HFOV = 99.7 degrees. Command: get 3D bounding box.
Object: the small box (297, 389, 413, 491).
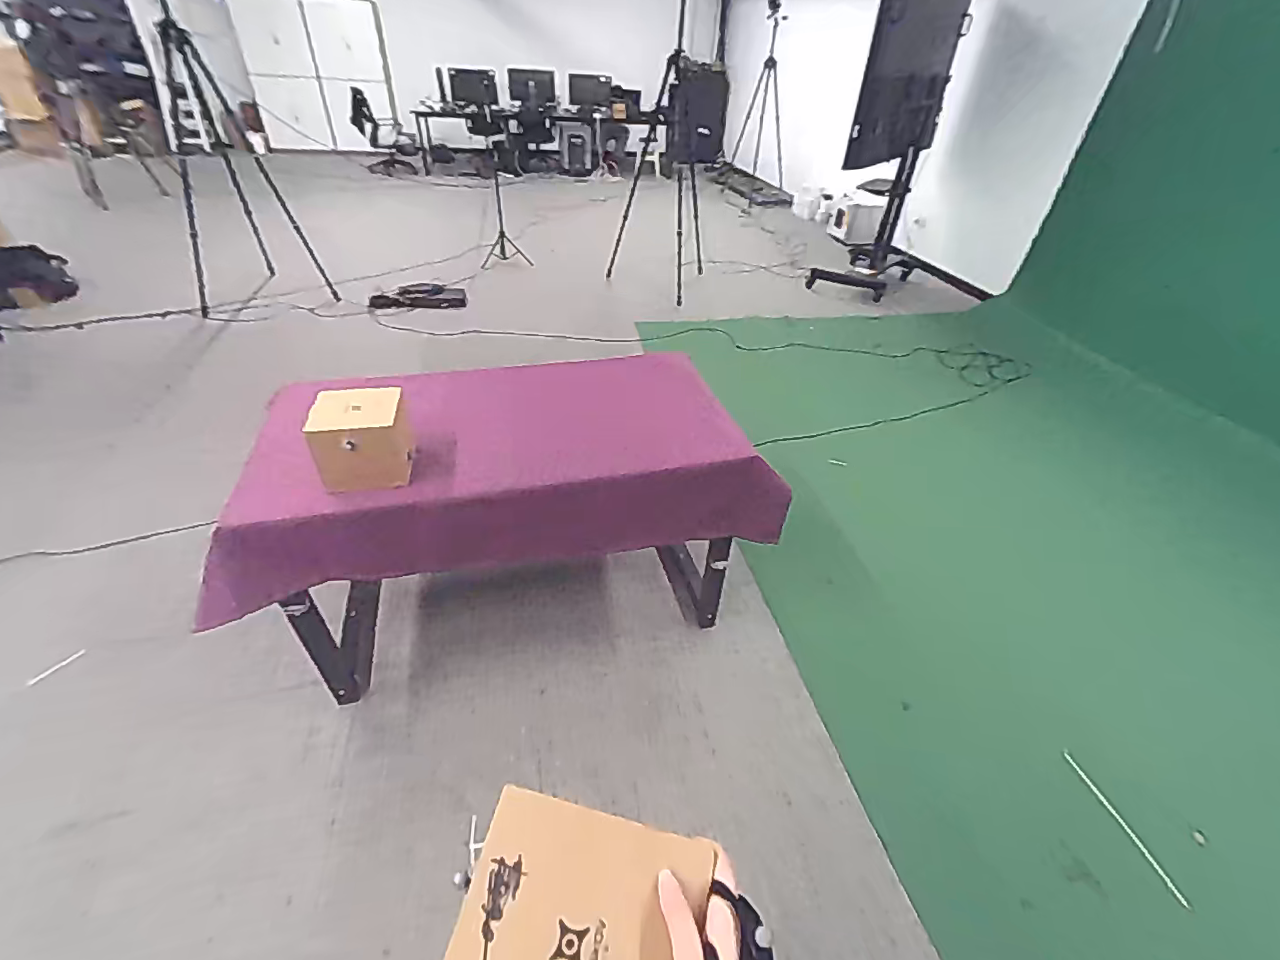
[{"bbox_3d":[-0.626,-0.088,1.213,0.179,0.176,0.168,-5,40,-12],"label":"small box"}]
